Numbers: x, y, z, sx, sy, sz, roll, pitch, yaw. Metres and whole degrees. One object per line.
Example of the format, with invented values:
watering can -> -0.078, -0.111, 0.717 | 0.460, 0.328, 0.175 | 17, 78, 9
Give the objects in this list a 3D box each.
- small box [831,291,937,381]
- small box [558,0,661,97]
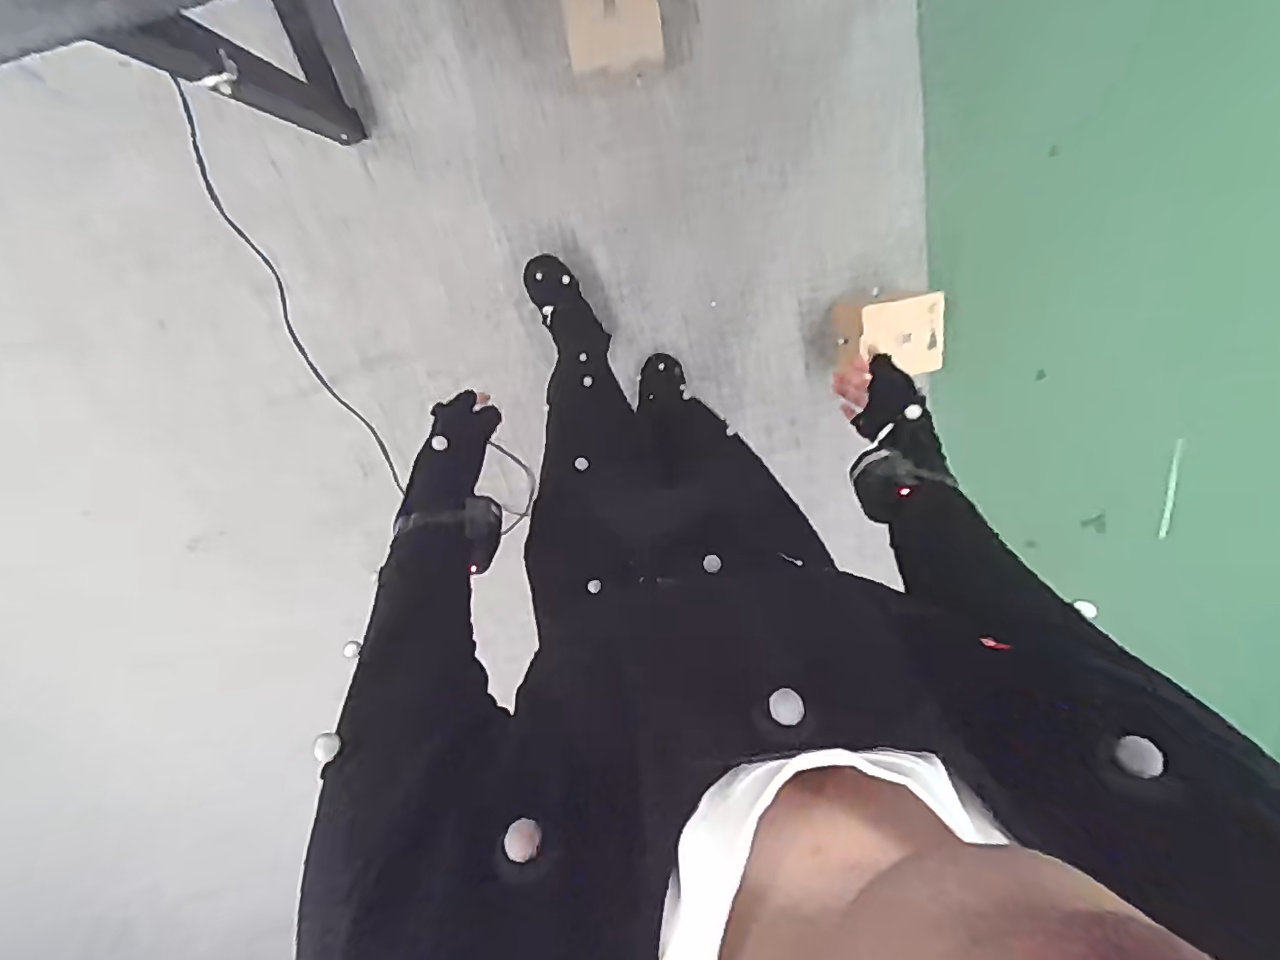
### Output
small box -> 0.548, -0.334, 1.239 | 0.179, 0.176, 0.168 | -9, 112, 2
small box -> -0.058, -0.838, 1.001 | 0.168, 0.176, 0.179 | -11, 111, 1
